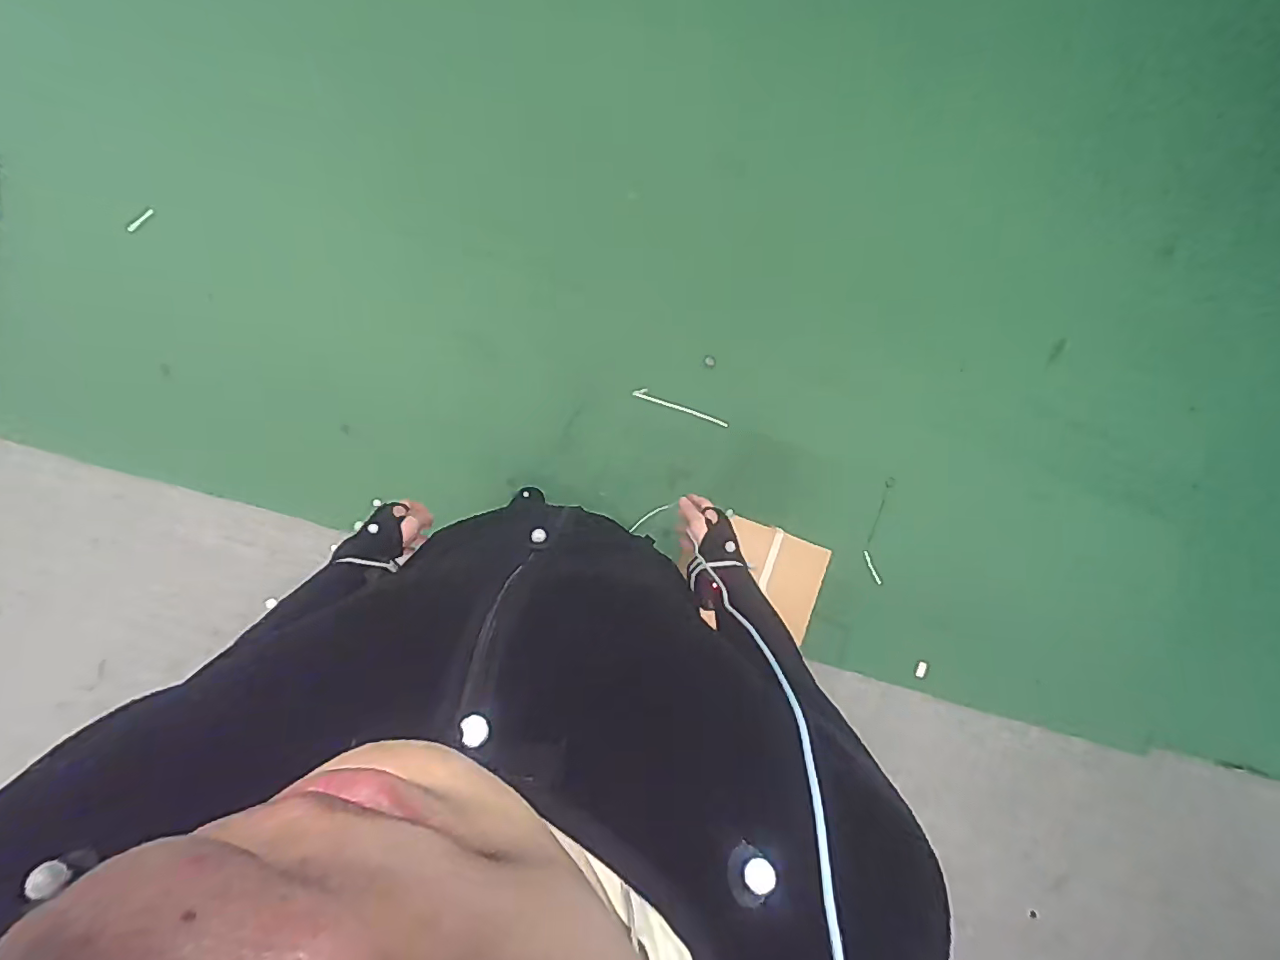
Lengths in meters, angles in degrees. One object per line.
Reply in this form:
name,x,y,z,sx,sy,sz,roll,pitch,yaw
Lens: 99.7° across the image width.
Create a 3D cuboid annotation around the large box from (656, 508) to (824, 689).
large box,0.272,0.319,1.569,0.320,0.320,0.408,20,86,-7
